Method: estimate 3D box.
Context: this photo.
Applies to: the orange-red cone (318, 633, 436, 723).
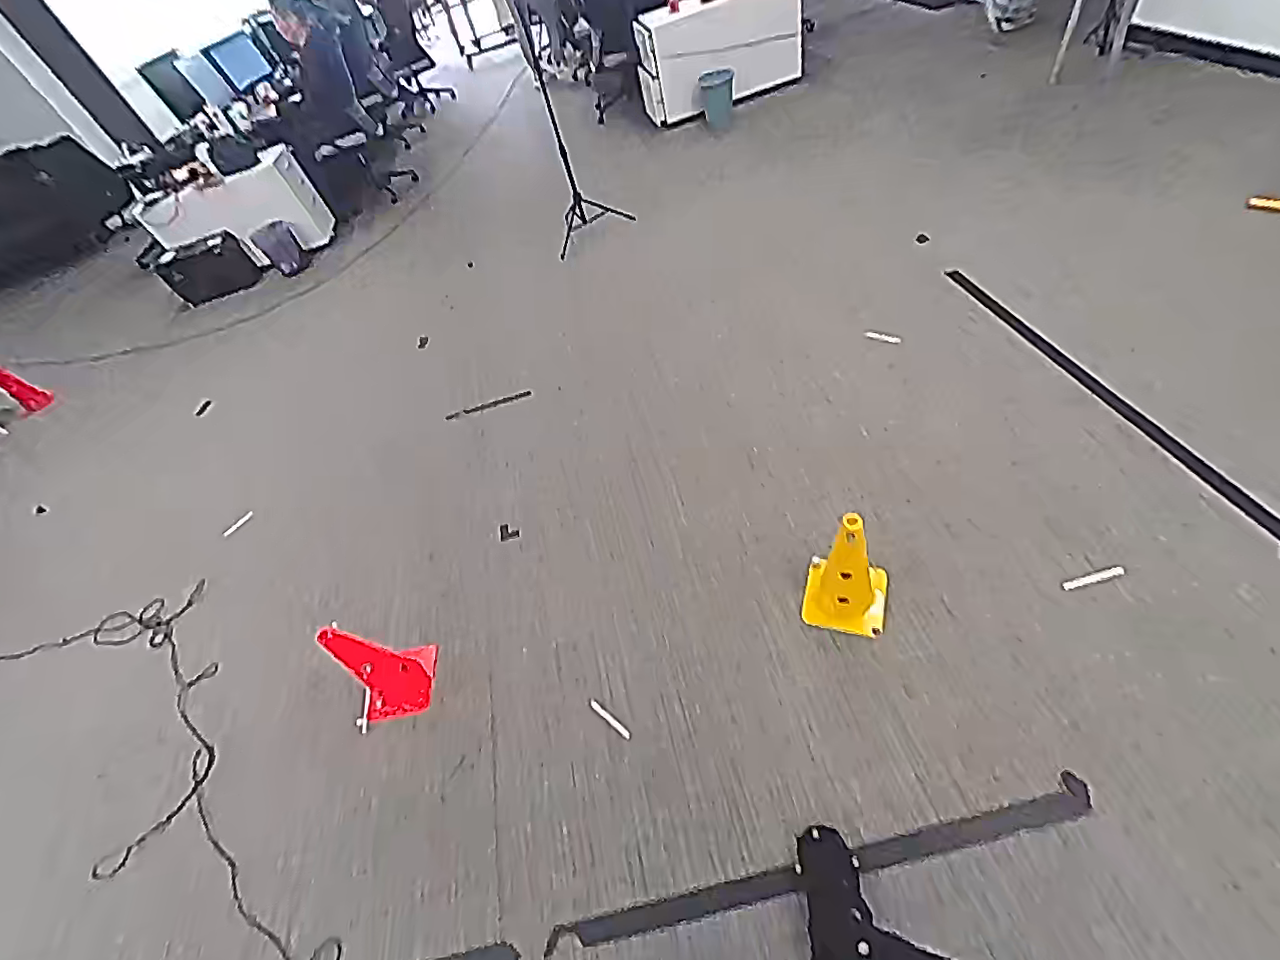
[{"bbox_3d":[-0.746,0.505,1.479,0.199,0.360,0.198,-12,49,6],"label":"orange-red cone"}]
